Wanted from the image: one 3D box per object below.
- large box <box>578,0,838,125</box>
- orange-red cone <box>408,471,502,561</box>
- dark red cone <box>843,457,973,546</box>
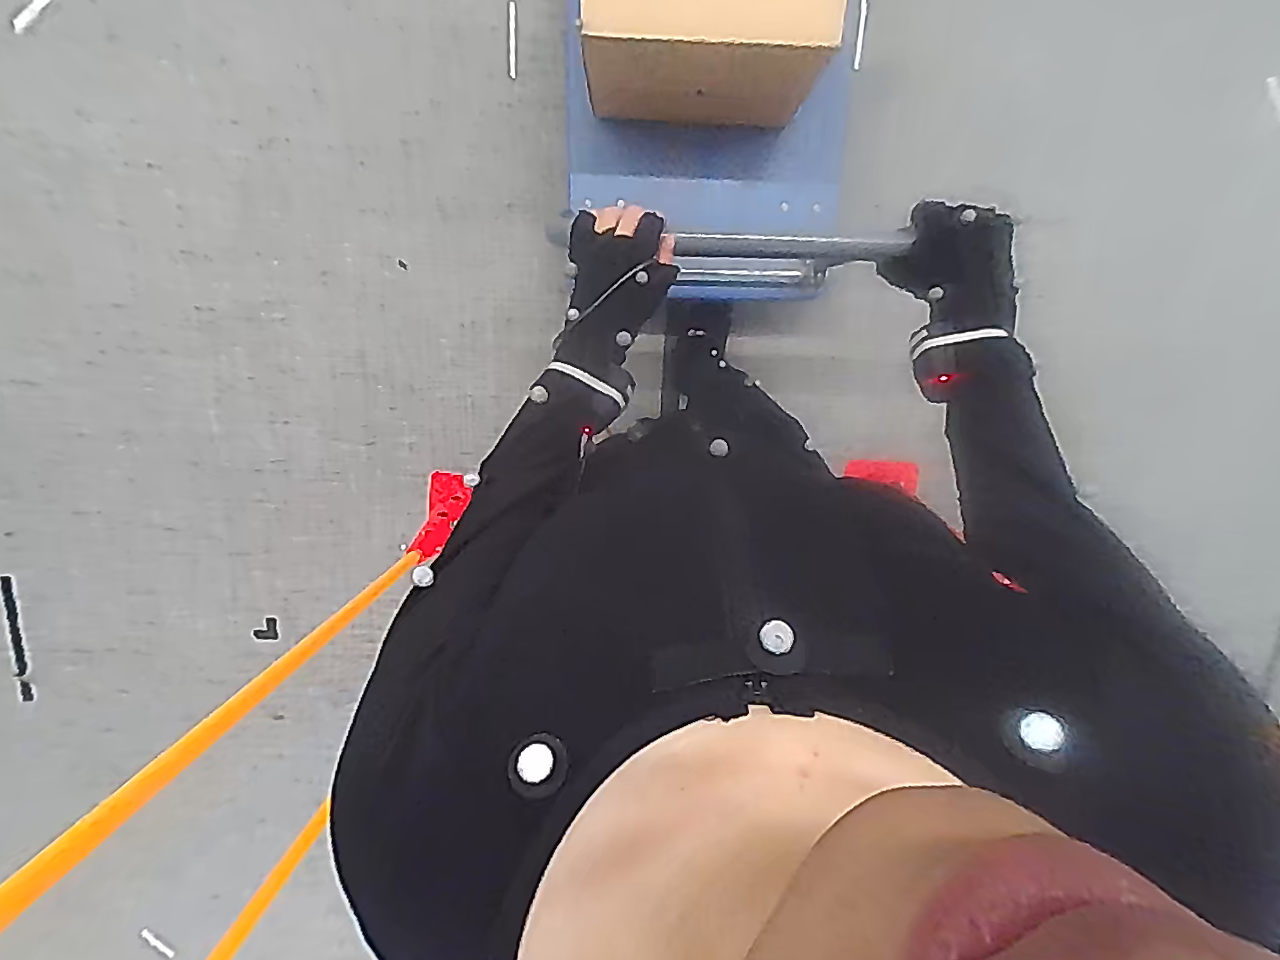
[{"bbox_3d":[0.107,-0.855,0.949,0.408,0.320,0.320,2,103,-1],"label":"large box"},{"bbox_3d":[-0.478,0.116,1.311,0.198,0.360,0.199,9,101,-4],"label":"orange-red cone"},{"bbox_3d":[0.655,0.078,1.294,0.201,0.394,0.202,2,103,-3],"label":"dark red cone"}]
